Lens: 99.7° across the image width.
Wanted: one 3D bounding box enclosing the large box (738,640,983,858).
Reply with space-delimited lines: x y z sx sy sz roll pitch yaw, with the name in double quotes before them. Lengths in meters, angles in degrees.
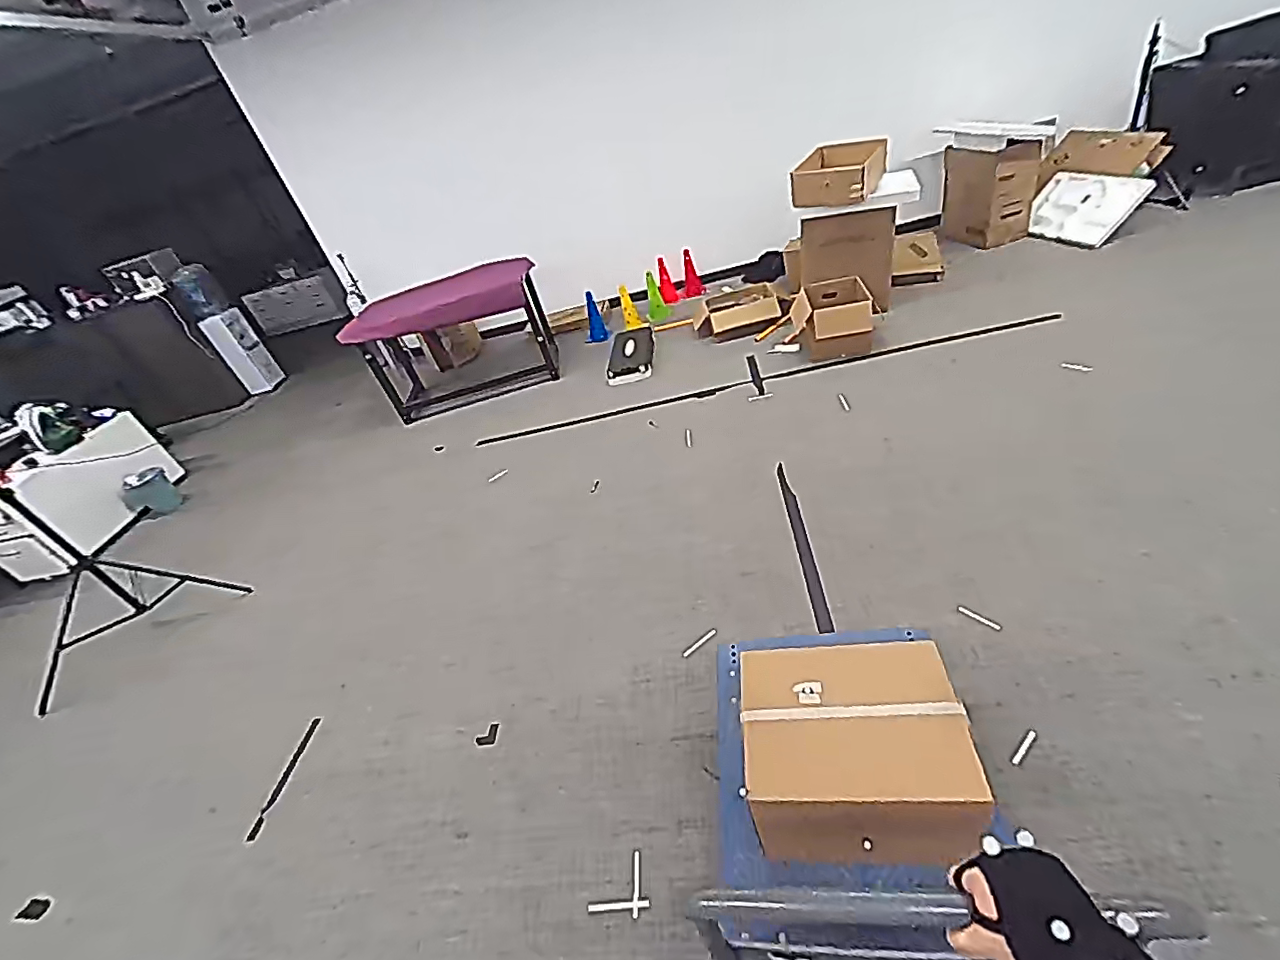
"large box" 0.441 0.578 1.151 0.408 0.320 0.320 -10 35 14
